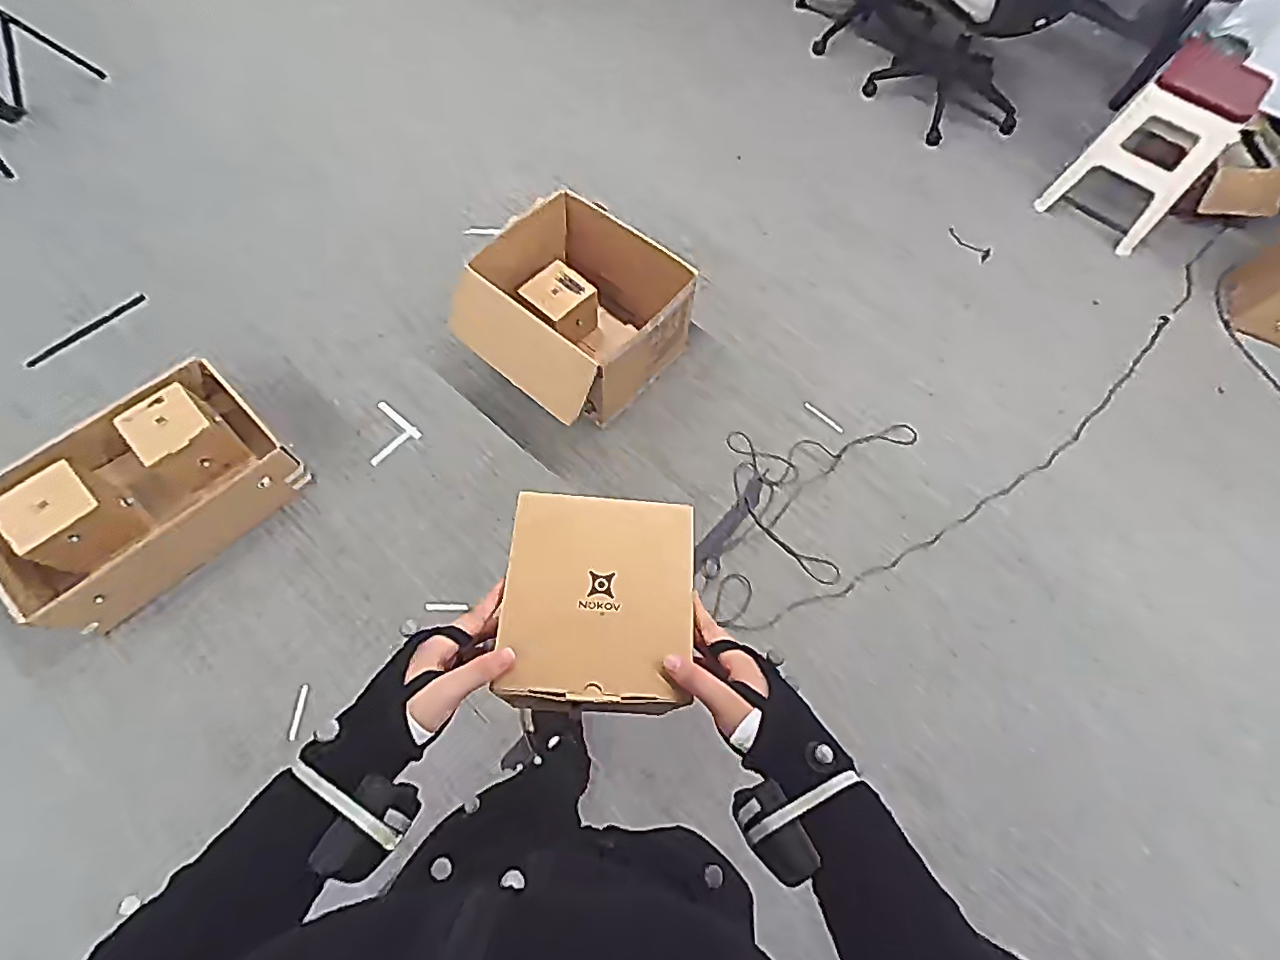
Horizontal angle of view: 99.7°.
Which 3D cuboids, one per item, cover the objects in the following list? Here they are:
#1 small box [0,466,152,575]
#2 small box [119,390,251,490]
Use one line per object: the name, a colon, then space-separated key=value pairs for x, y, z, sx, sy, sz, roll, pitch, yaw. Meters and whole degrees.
small box: x=-1.357 y=0.105 z=1.307 sx=0.168 sy=0.176 sz=0.179 roll=42 pitch=69 yaw=12
small box: x=-1.170 y=-0.093 z=1.406 sx=0.168 sy=0.176 sz=0.179 roll=-42 pitch=76 yaw=-18
